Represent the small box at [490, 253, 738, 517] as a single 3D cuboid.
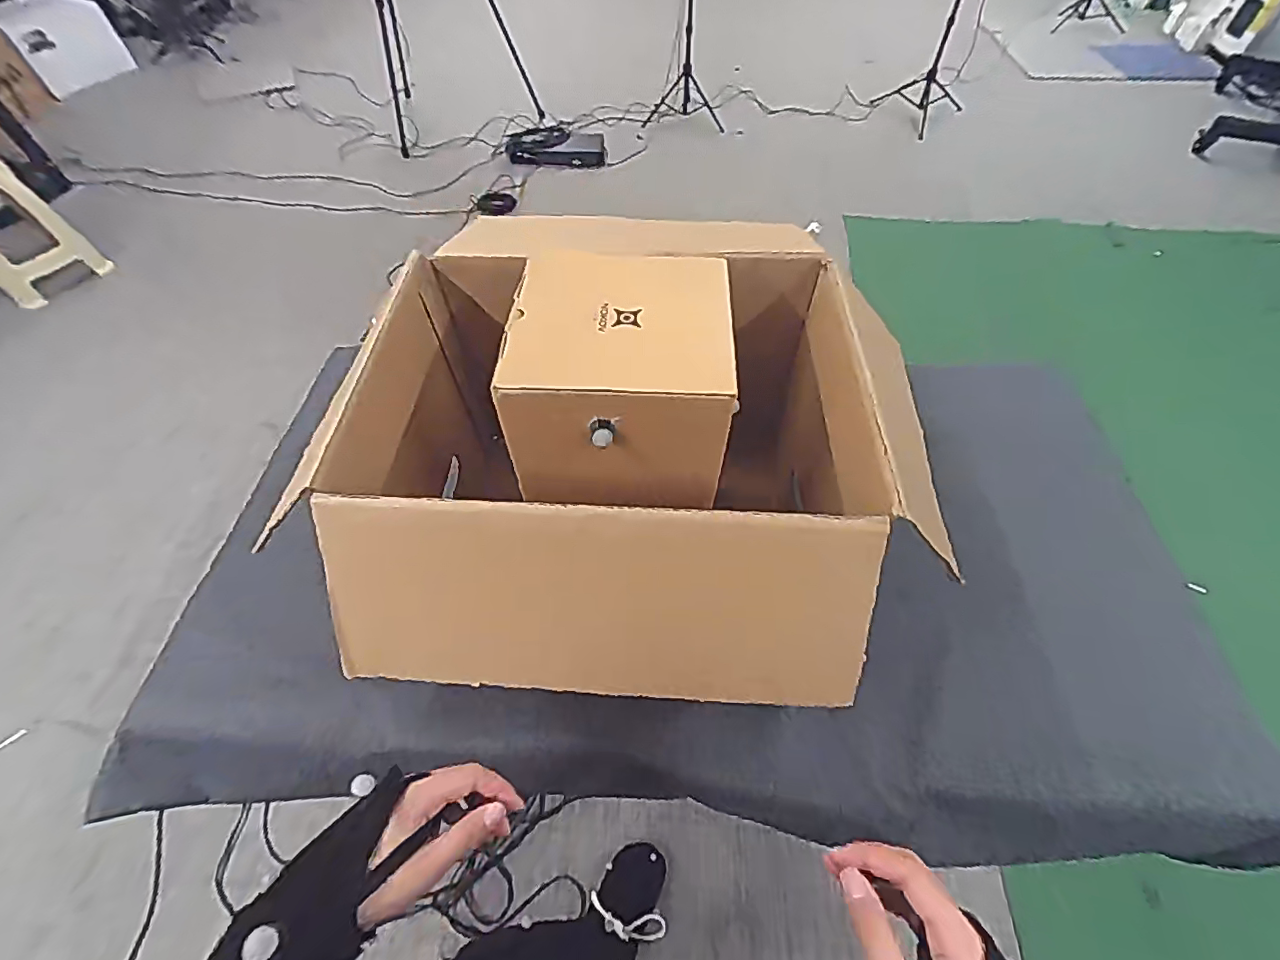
[{"bbox_3d":[-0.015,-0.078,0.485,0.179,0.176,0.168,2,54,2],"label":"small box"}]
